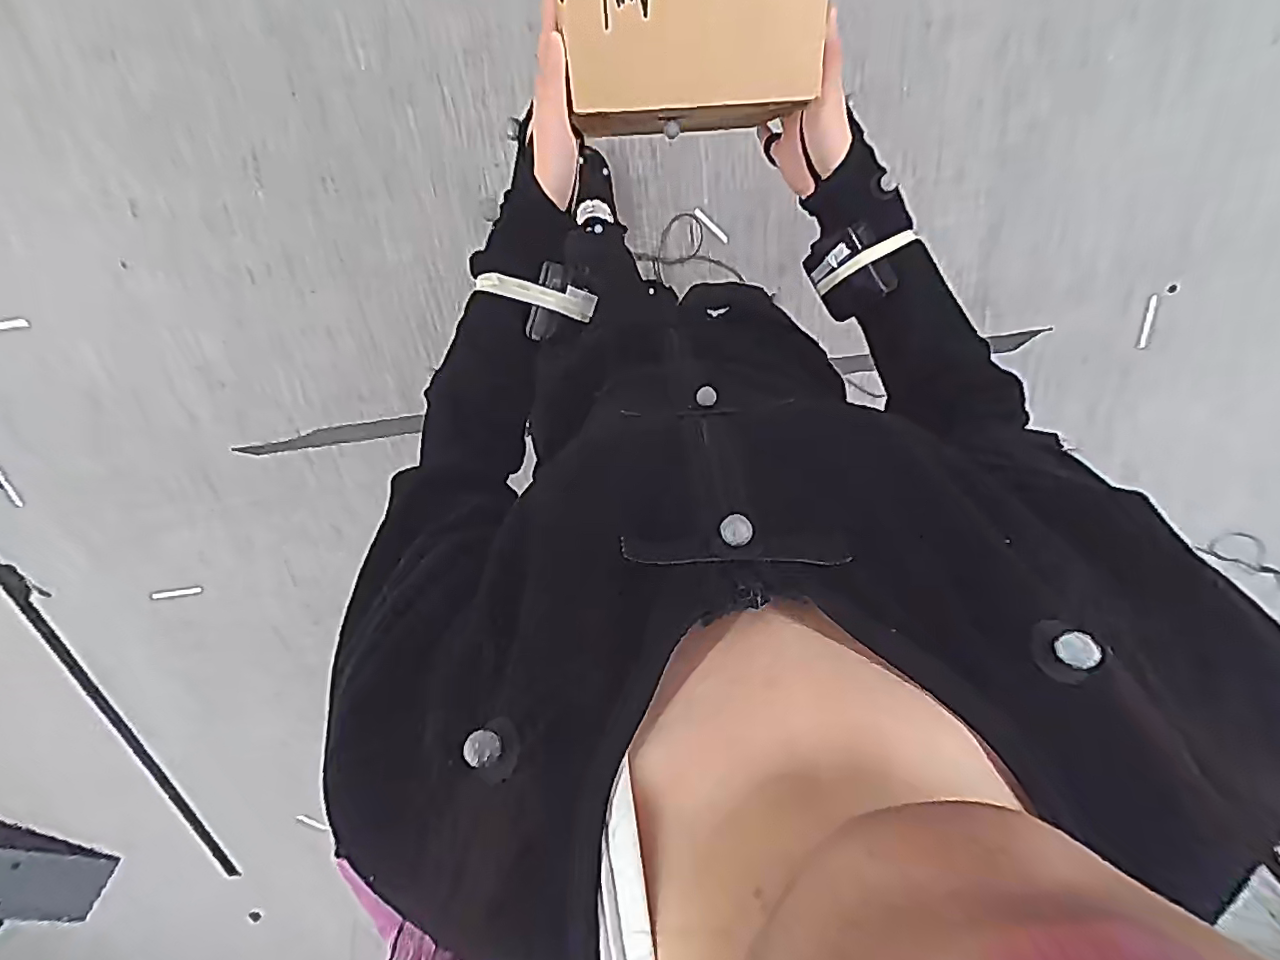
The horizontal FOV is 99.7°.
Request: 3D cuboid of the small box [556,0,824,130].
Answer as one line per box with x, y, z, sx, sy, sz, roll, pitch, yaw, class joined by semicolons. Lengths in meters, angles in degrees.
0.028;-0.371;0.406;0.179;0.176;0.168;-4;118;-2;small box
